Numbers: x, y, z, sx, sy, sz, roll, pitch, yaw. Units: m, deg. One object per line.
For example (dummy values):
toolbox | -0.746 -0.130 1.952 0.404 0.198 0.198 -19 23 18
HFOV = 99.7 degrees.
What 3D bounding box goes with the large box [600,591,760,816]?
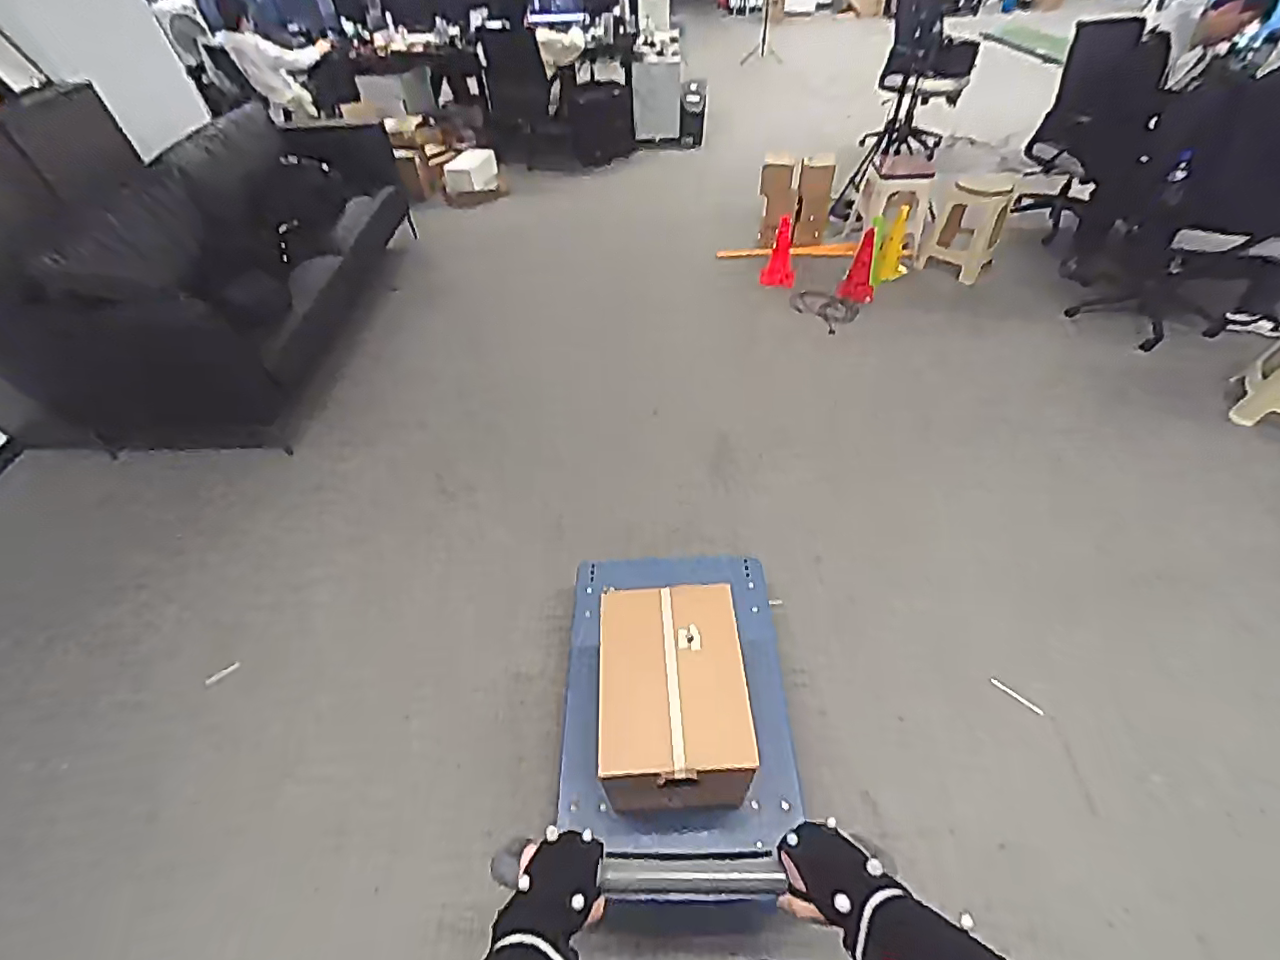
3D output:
large box | 0.080 0.527 1.281 0.320 0.320 0.408 -4 48 1
